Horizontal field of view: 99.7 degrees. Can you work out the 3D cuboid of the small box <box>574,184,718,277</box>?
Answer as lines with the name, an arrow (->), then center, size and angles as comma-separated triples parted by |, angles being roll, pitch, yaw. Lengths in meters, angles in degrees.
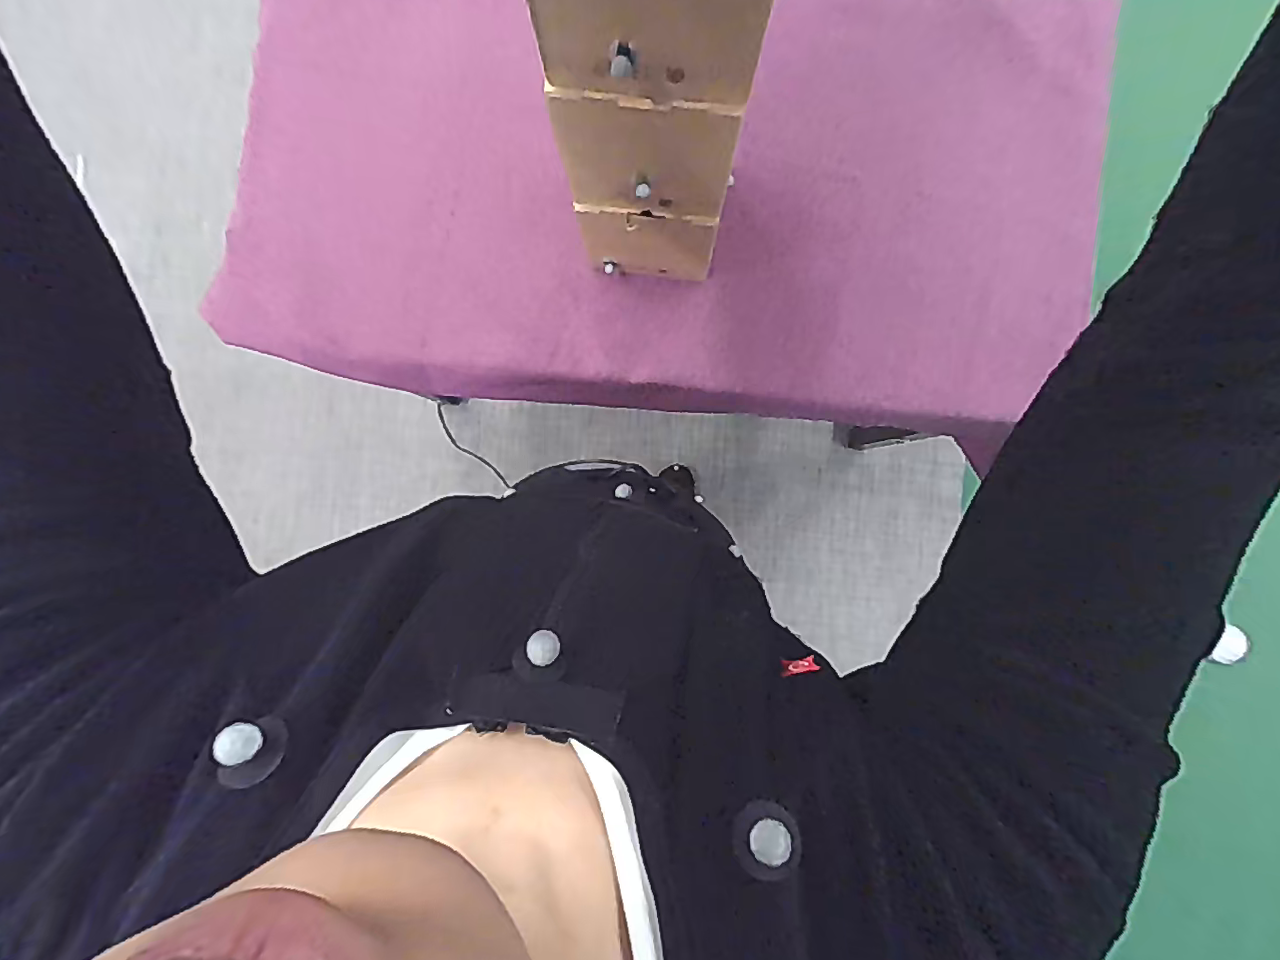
small box -> 0.020, -0.378, 0.687 | 0.168, 0.176, 0.179 | 7, 88, 1

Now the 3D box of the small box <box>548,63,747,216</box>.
small box -> 0.016, -0.390, 0.523 | 0.168, 0.176, 0.179 | 7, 89, 2

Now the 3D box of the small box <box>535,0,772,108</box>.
small box -> 0.014, -0.398, 0.361 | 0.168, 0.176, 0.179 | 7, 89, 2
